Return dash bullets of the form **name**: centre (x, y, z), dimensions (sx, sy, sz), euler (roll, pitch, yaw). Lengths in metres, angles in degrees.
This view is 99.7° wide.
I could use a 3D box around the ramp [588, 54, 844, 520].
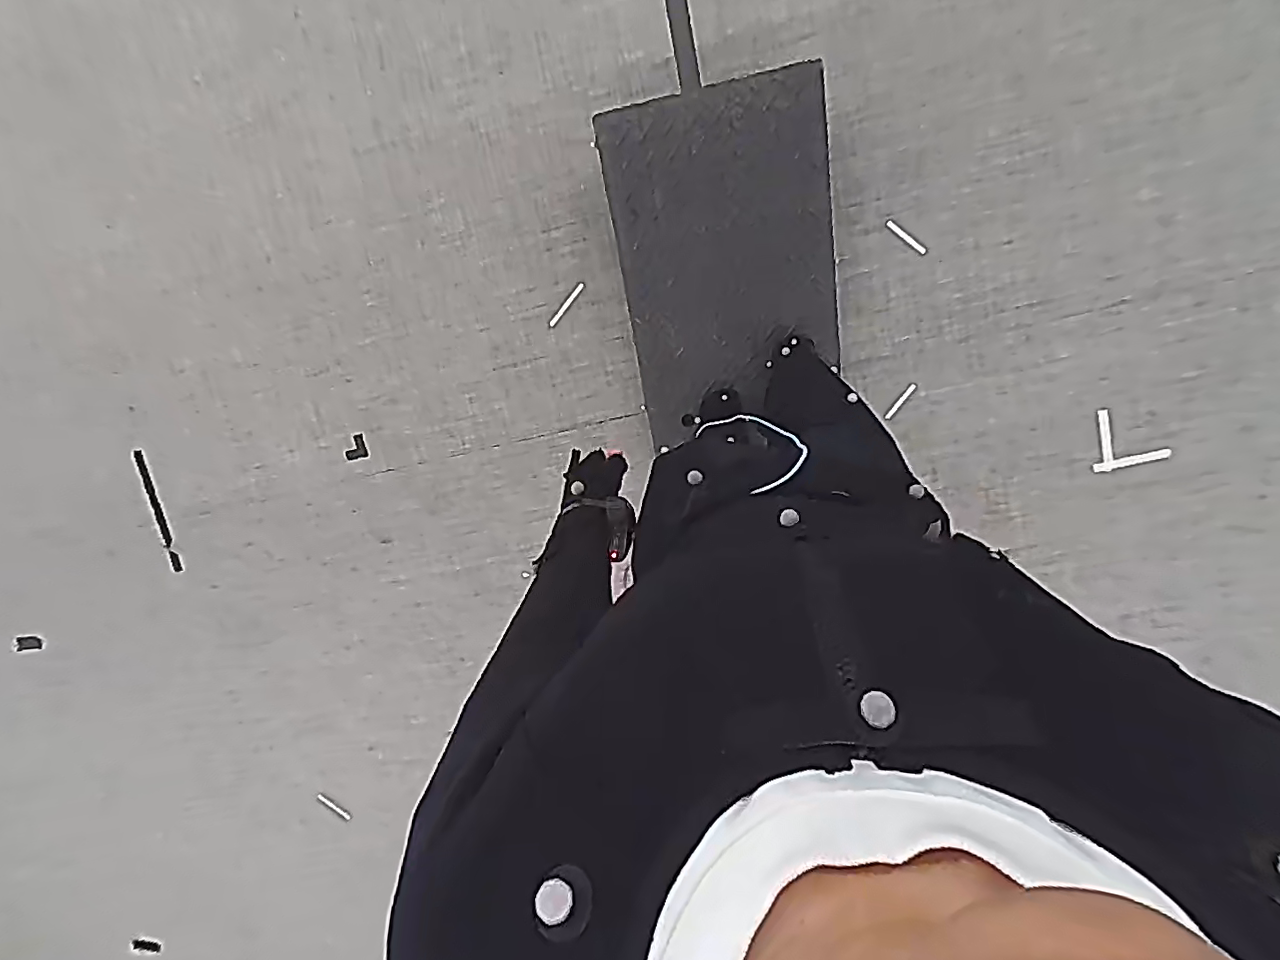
- **ramp**: centre (0.221, -0.378, 1.313), dimensions (0.509, 0.206, 0.991), euler (-10, 101, 8)
